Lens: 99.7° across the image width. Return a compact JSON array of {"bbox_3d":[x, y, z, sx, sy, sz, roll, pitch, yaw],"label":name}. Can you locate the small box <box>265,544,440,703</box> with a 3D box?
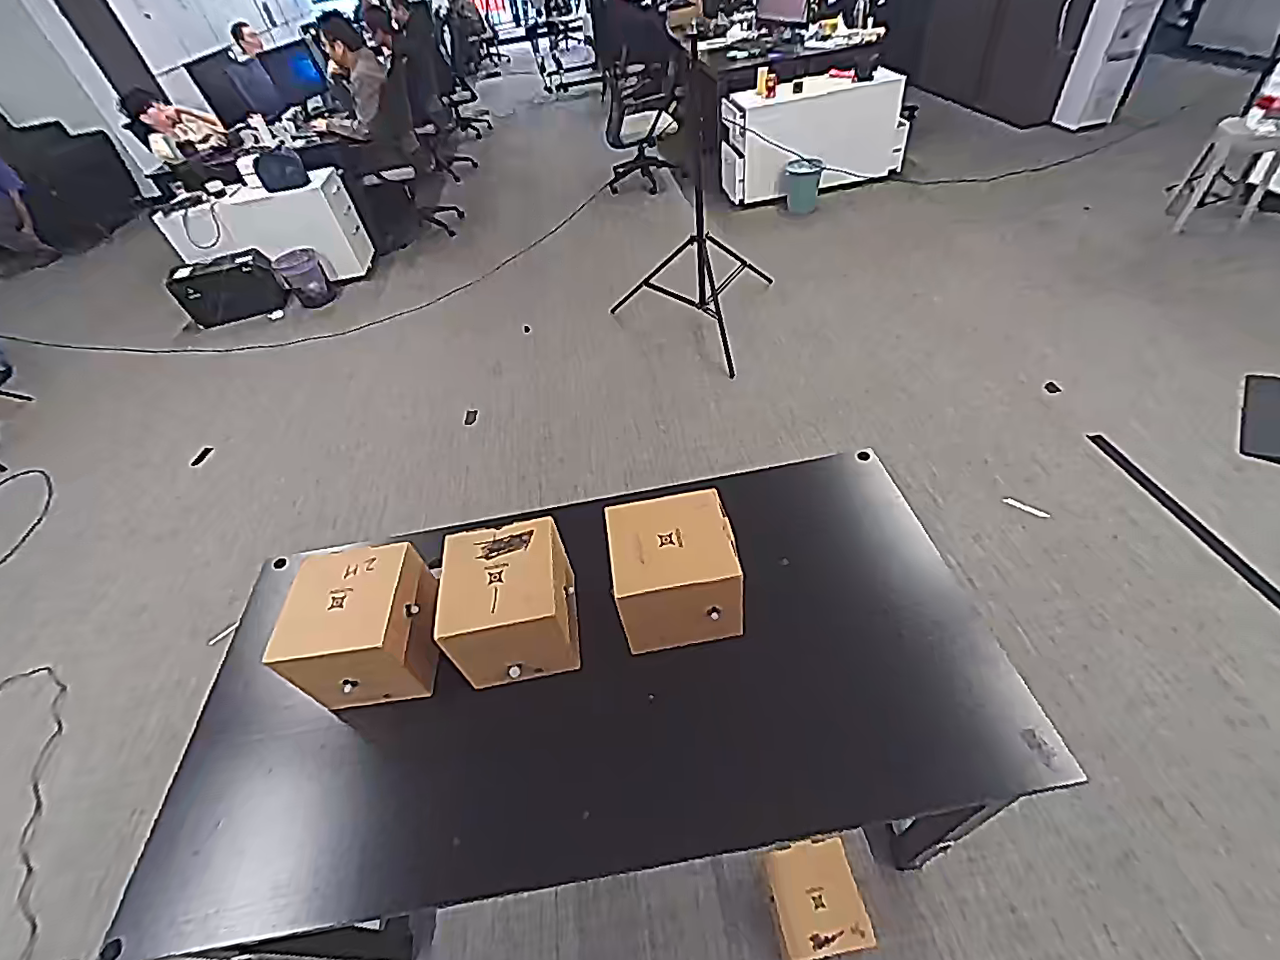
[{"bbox_3d":[-0.416,0.225,0.829,0.168,0.176,0.179,-8,46,1],"label":"small box"}]

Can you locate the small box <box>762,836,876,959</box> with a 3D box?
[{"bbox_3d":[0.351,0.860,1.104,0.168,0.176,0.179,-12,45,0],"label":"small box"}]

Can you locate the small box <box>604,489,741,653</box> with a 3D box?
[{"bbox_3d":[0.050,0.142,0.831,0.179,0.176,0.168,-12,45,0],"label":"small box"}]

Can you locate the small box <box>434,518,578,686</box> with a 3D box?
[{"bbox_3d":[-0.194,0.187,0.827,0.168,0.176,0.179,-11,47,-1],"label":"small box"}]
